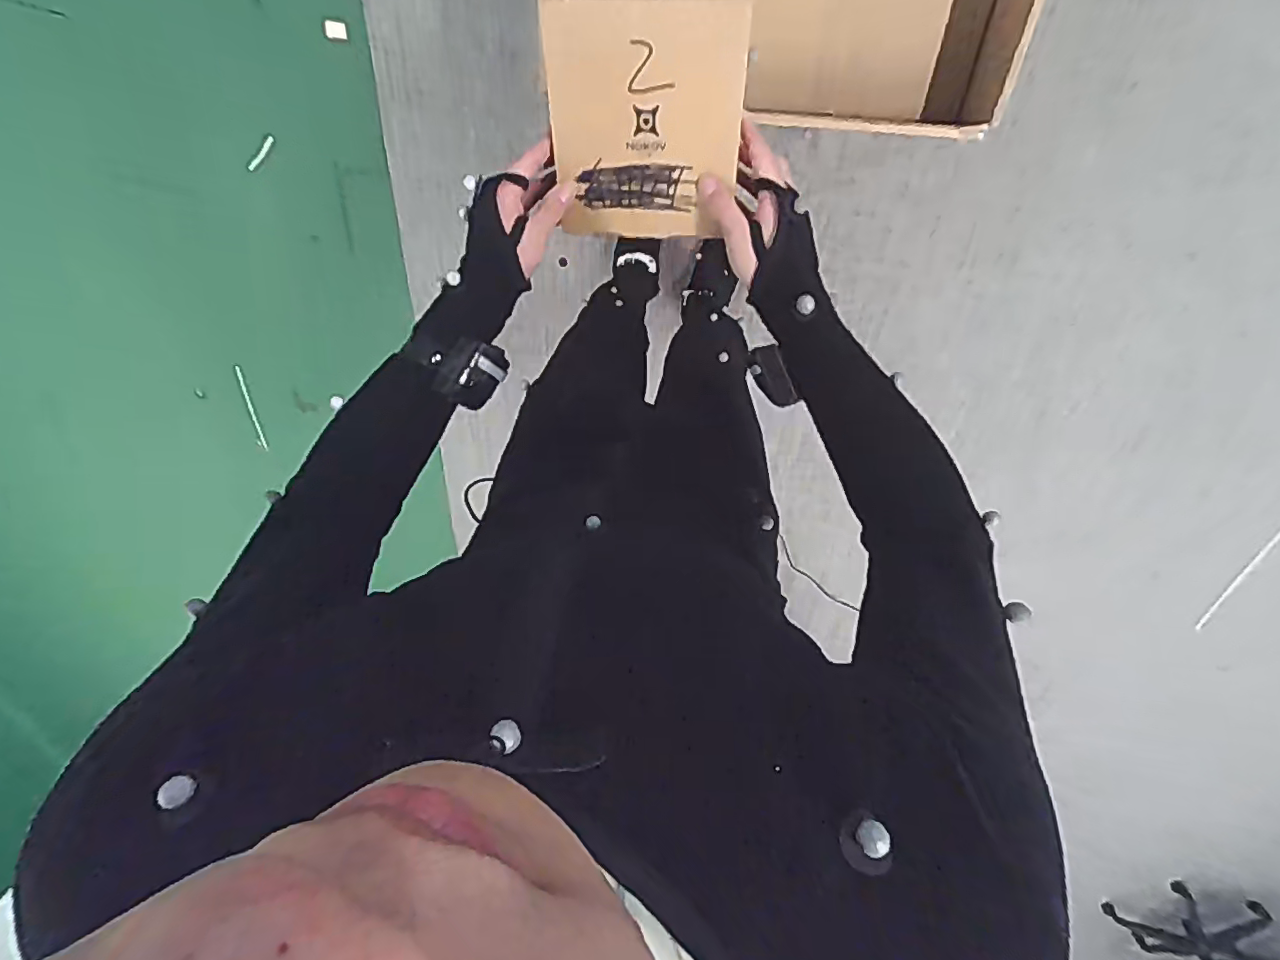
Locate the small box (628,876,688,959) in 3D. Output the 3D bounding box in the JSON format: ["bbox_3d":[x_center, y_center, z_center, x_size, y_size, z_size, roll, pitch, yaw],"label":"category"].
[{"bbox_3d":[0.056,1.342,1.646,0.168,0.176,0.179,6,124,6],"label":"small box"}]
